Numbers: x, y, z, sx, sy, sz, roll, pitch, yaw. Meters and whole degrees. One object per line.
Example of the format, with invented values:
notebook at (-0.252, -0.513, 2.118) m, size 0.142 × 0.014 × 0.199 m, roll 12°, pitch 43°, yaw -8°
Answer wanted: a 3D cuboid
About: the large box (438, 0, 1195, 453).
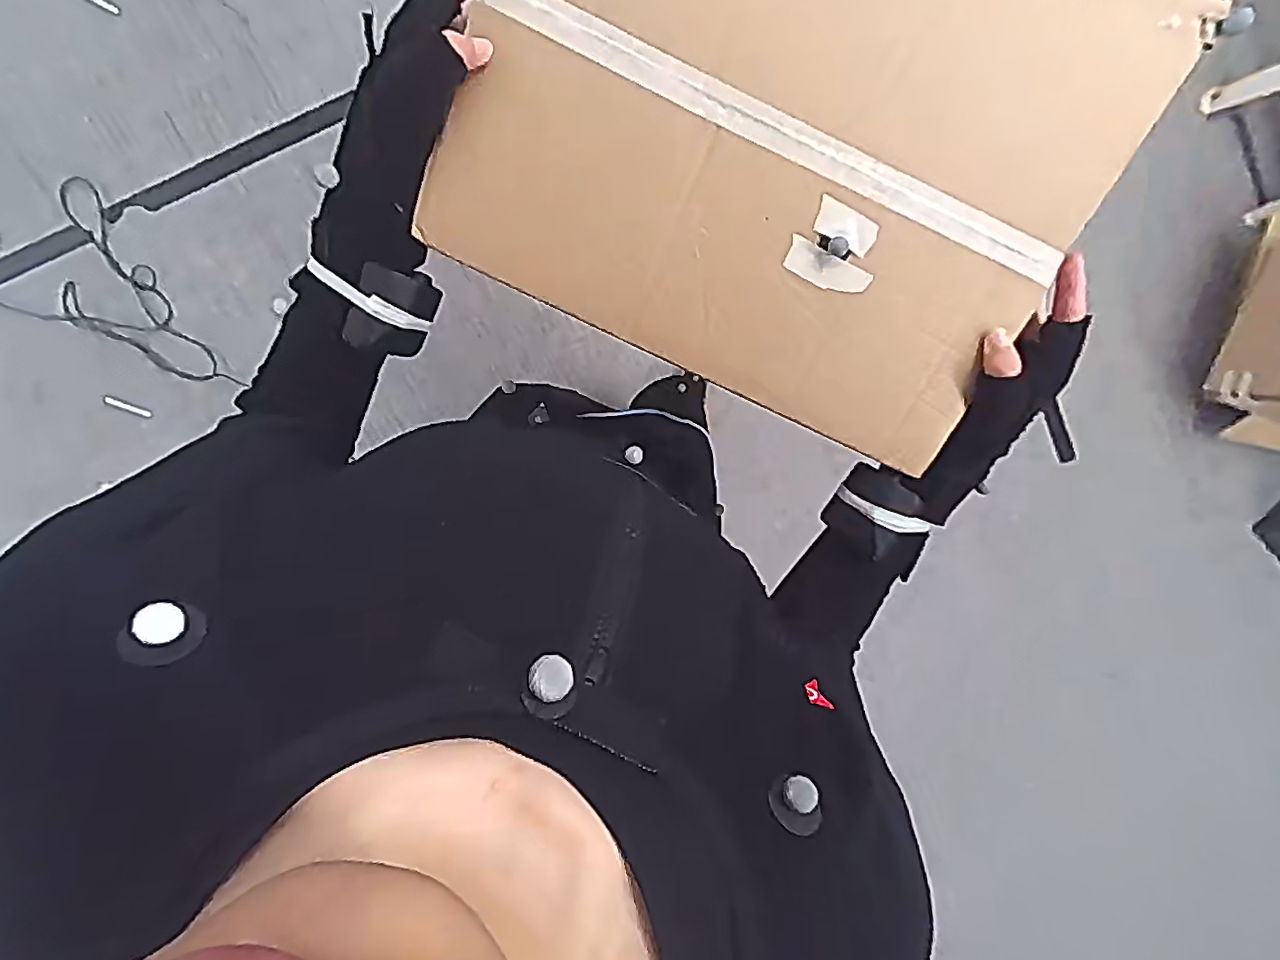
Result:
large box at (0.102, -0.274, 0.497) m, size 0.408 × 0.320 × 0.320 m, roll 25°, pitch 109°, yaw -4°
